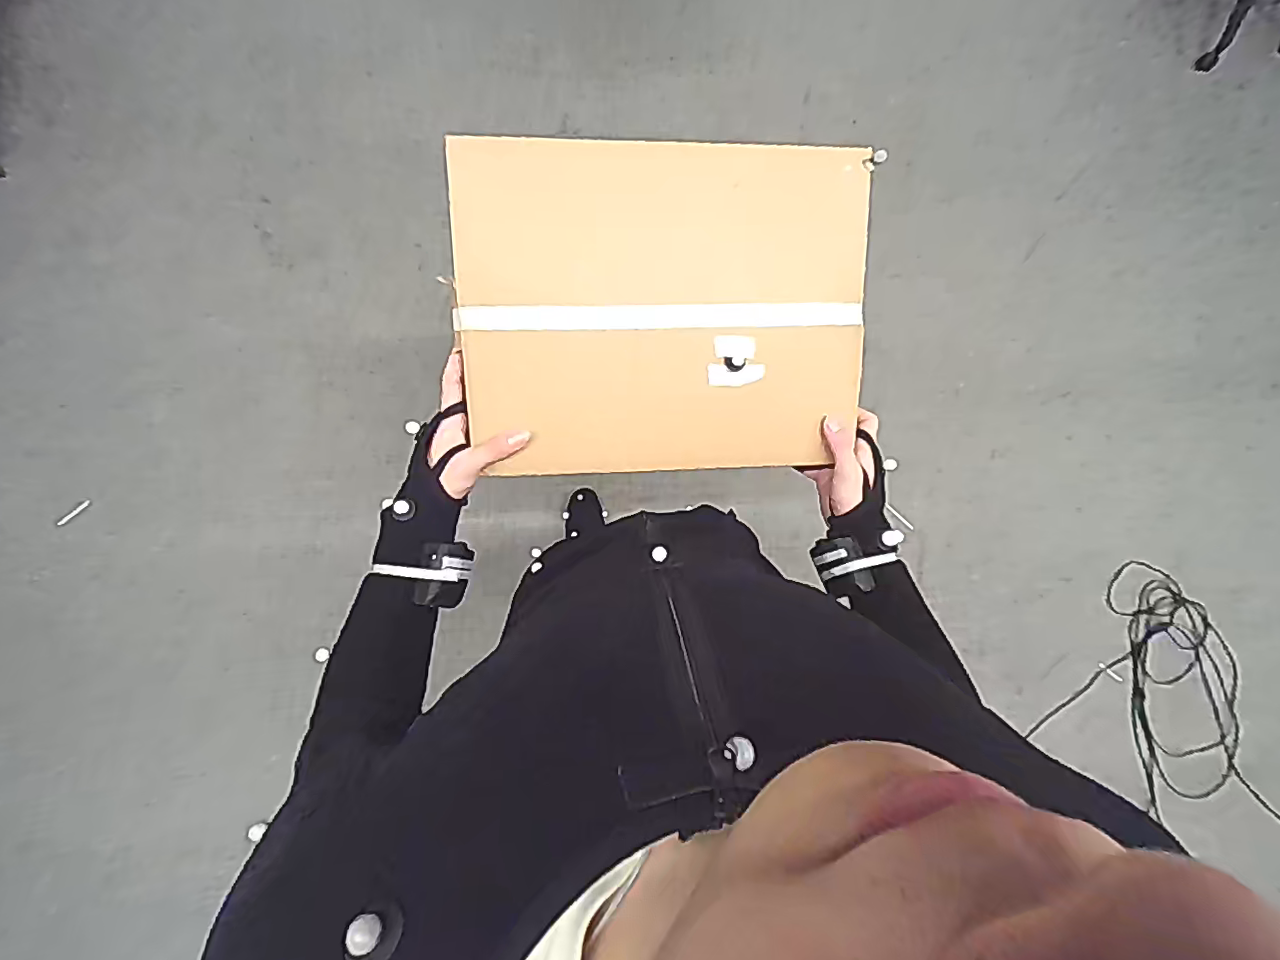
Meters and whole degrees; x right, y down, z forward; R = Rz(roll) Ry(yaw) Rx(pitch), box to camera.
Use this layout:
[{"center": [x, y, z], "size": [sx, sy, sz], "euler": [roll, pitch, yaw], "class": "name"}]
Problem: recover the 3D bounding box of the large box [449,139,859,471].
[{"center": [0.007, -0.200, 0.688], "size": [0.408, 0.320, 0.320], "euler": [-3, 103, -7], "class": "large box"}]
